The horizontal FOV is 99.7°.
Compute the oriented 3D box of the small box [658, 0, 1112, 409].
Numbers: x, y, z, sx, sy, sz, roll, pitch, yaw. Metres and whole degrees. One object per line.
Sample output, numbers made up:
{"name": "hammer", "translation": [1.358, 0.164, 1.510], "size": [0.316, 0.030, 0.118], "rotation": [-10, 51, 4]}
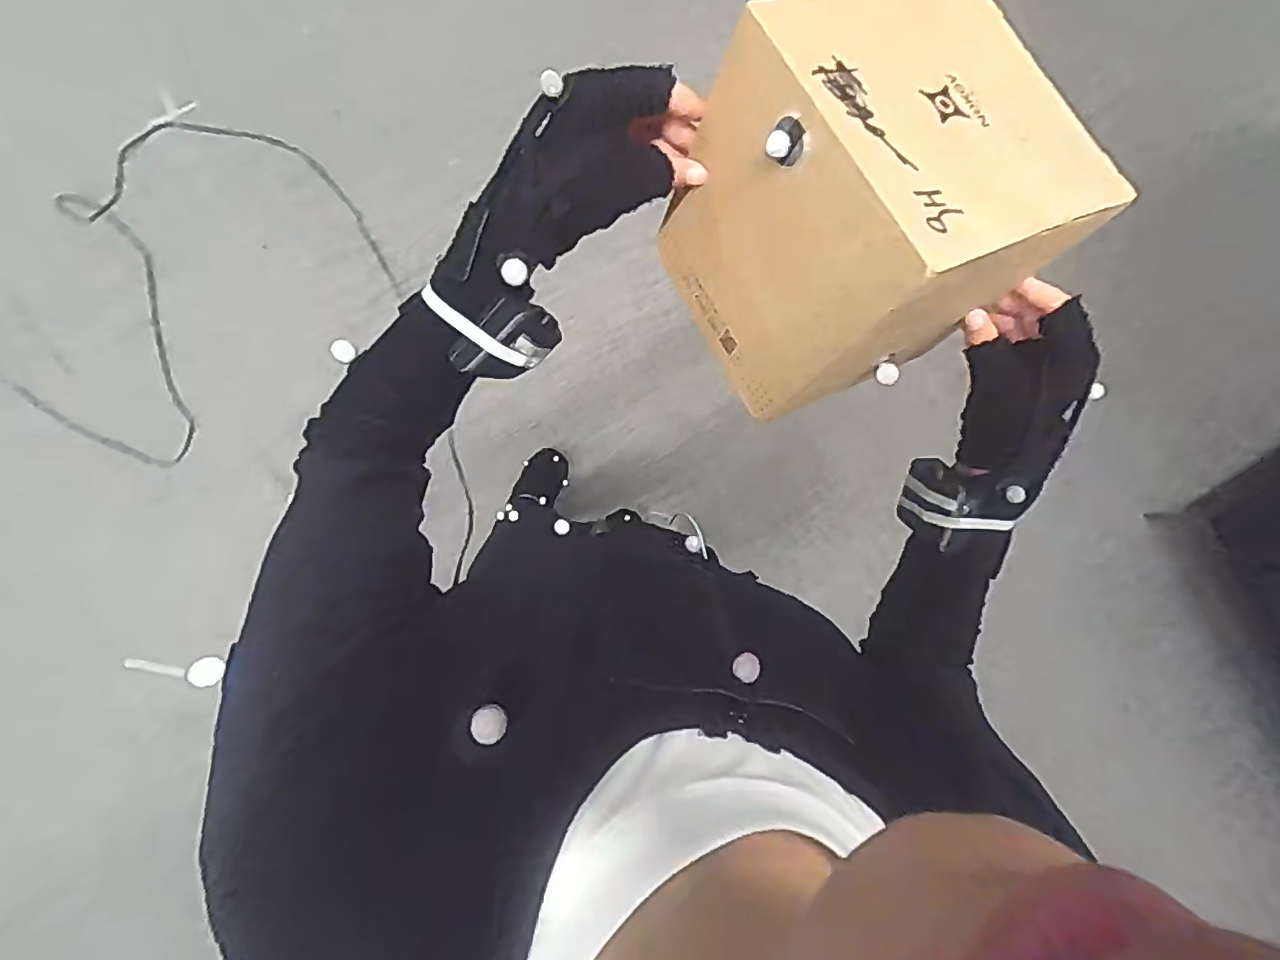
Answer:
{"name": "small box", "translation": [0.139, -0.173, 0.360], "size": [0.179, 0.176, 0.168], "rotation": [-24, 79, -22]}
